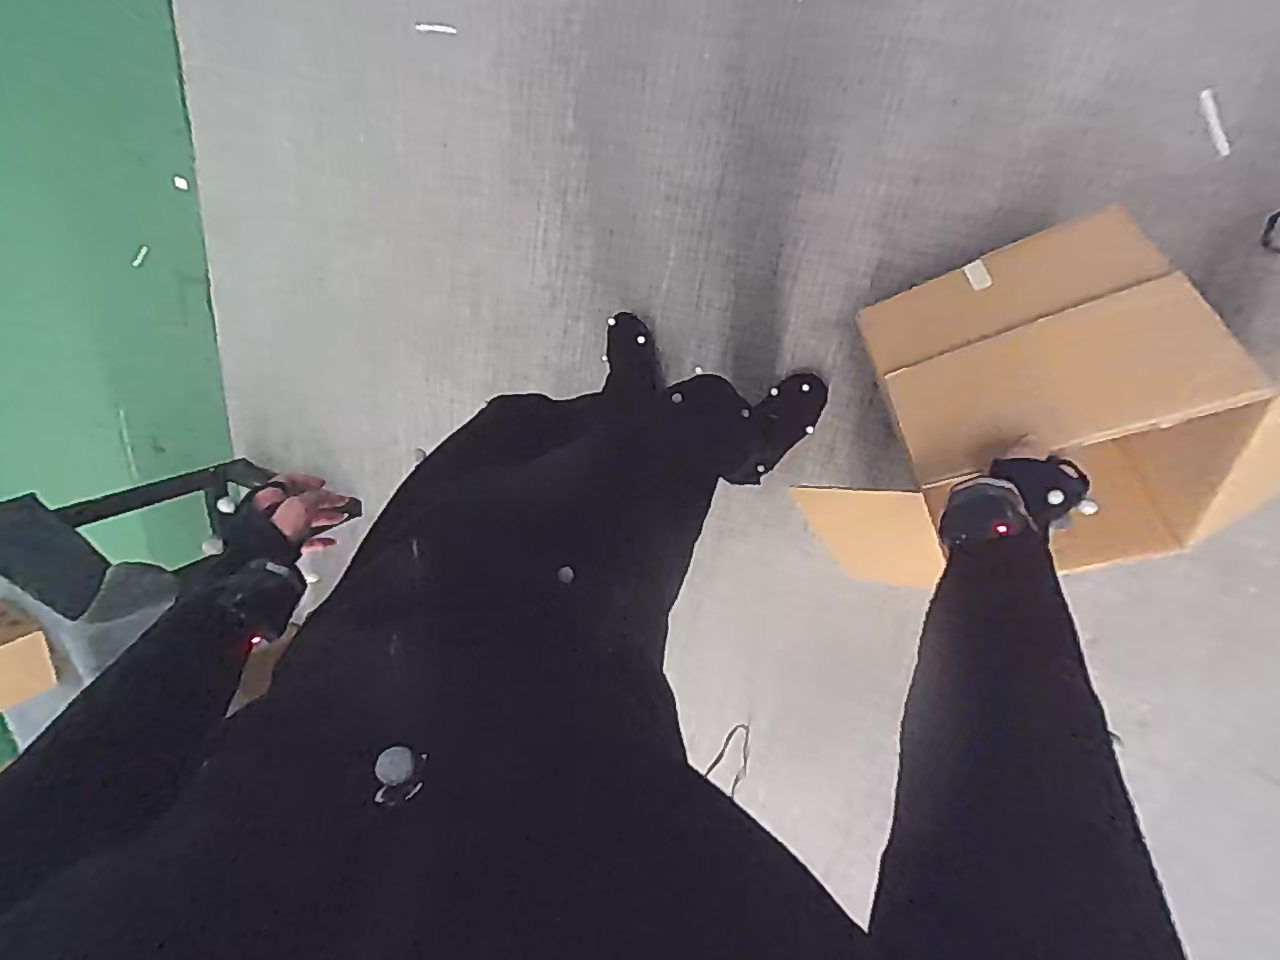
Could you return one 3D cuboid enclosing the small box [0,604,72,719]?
[{"bbox_3d":[-1.431,0.415,1.209,0.168,0.176,0.179,23,116,15],"label":"small box"}]
